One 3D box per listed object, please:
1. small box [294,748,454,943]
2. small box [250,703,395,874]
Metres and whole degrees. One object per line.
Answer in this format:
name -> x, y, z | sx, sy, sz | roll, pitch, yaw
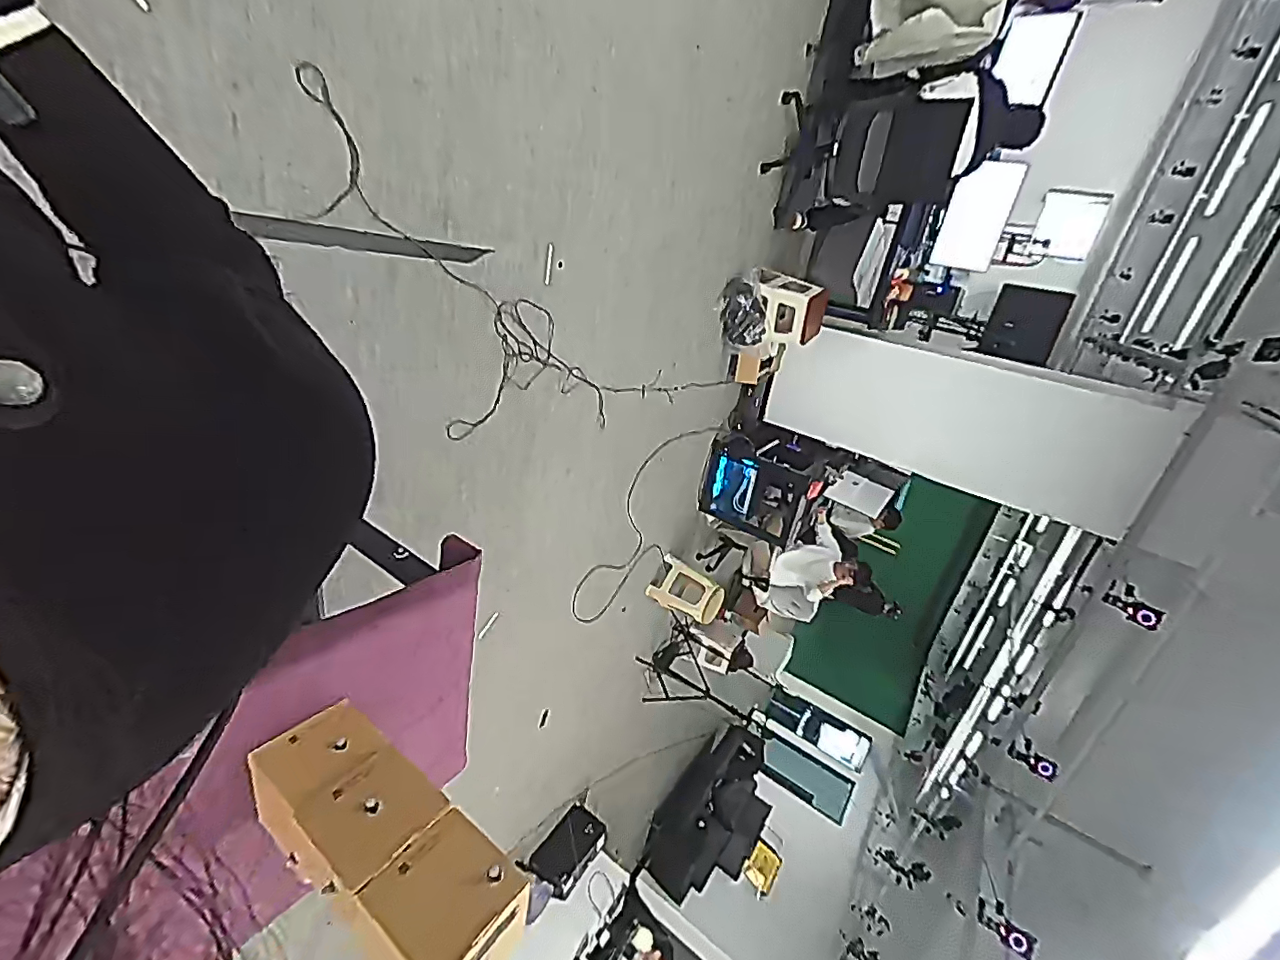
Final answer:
small box -> -0.424, 0.570, 0.871 | 0.168, 0.176, 0.179 | -29, 135, -49
small box -> -0.558, 0.529, 0.958 | 0.168, 0.176, 0.179 | -24, 132, -52
